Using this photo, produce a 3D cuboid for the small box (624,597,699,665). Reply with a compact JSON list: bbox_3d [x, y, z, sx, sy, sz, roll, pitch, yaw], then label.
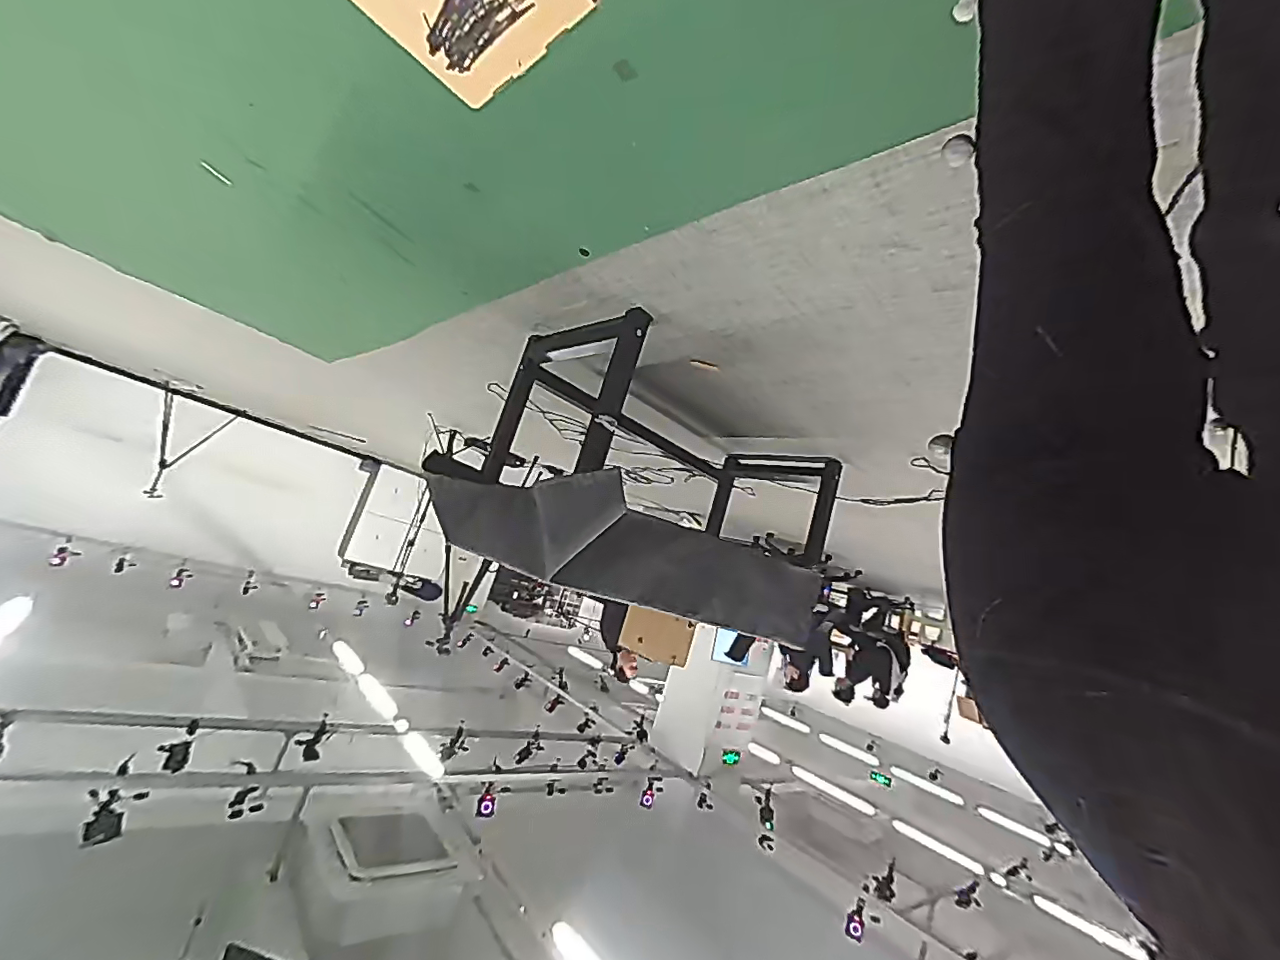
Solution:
[{"bbox_3d":[0.079,0.501,1.810,0.168,0.176,0.179,26,168,-39],"label":"small box"}]
